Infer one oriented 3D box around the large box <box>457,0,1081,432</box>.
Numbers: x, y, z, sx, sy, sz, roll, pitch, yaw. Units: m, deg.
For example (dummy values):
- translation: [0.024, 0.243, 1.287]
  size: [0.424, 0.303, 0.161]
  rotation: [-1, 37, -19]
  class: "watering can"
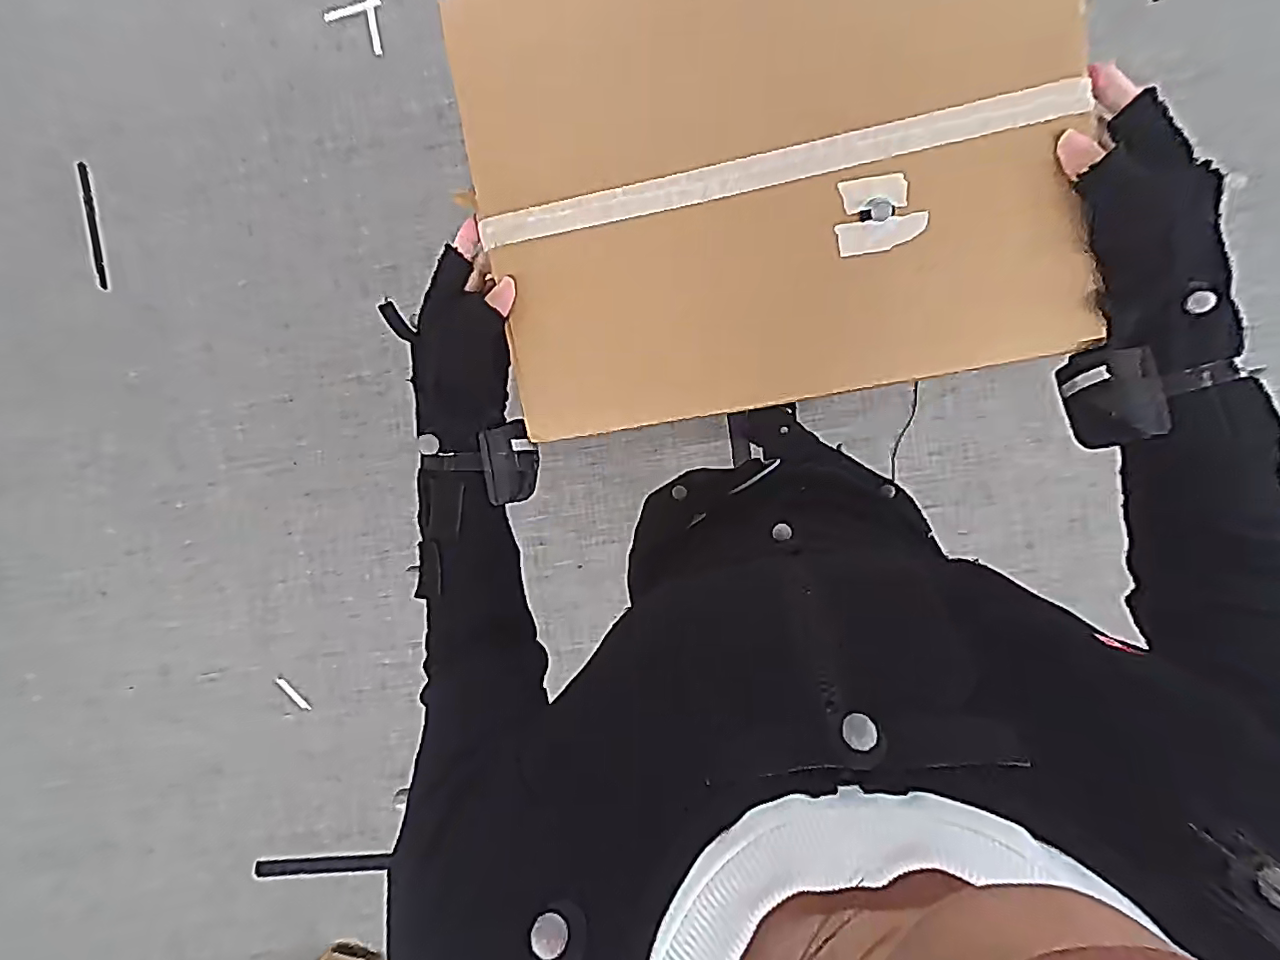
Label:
- translation: [0.100, -0.241, 0.529]
  size: [0.408, 0.320, 0.320]
  rotation: [-10, 98, 6]
  class: "large box"
